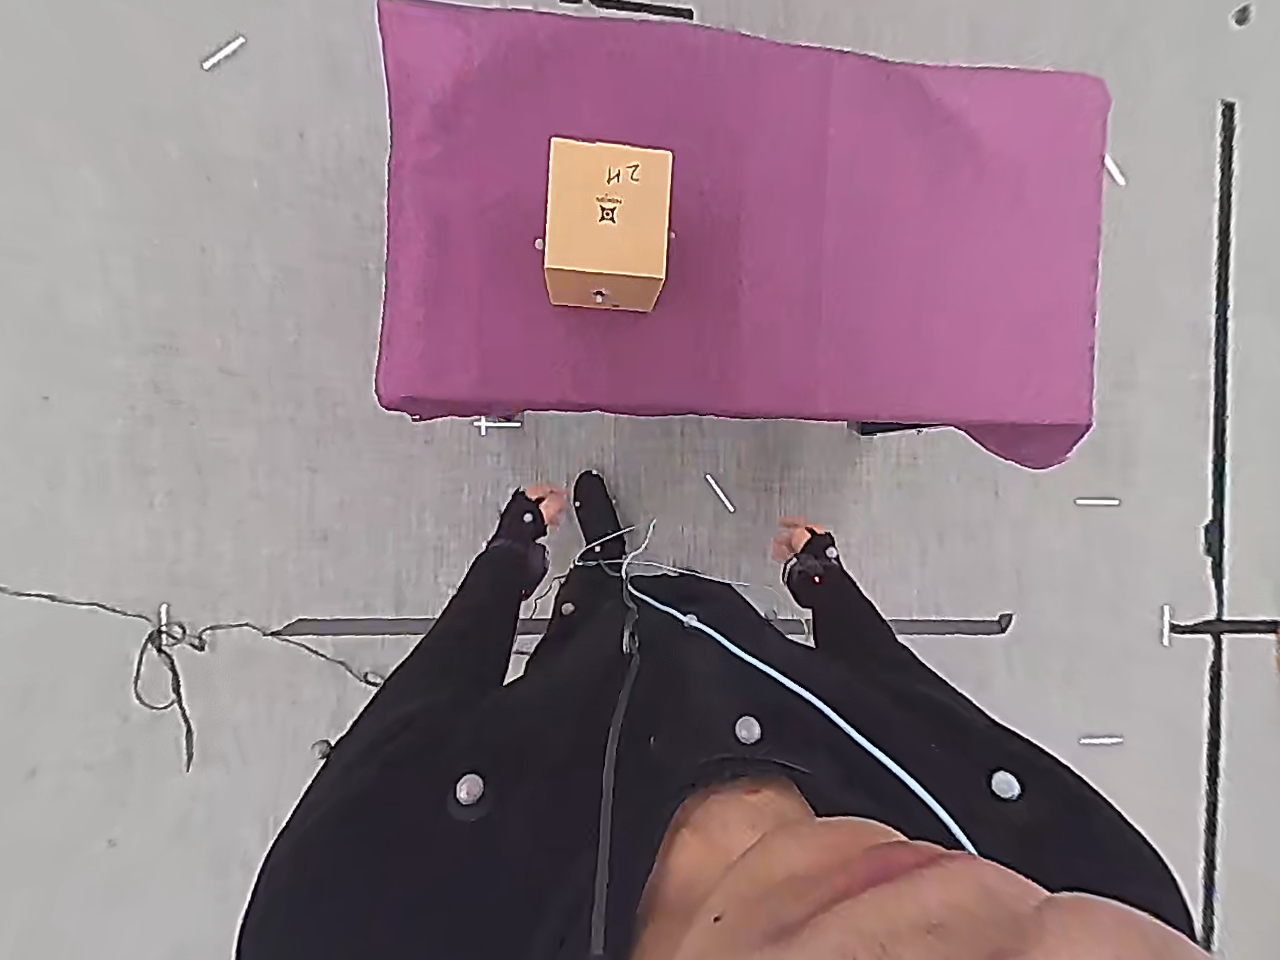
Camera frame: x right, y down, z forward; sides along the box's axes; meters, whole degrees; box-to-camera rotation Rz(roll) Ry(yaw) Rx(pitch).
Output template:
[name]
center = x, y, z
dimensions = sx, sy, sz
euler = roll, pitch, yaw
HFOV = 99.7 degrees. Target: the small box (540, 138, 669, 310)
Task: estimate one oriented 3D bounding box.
[small box]
center = -0.054, -0.366, 0.808
dimensions = 0.168, 0.176, 0.179
euler = 4, 91, -6
